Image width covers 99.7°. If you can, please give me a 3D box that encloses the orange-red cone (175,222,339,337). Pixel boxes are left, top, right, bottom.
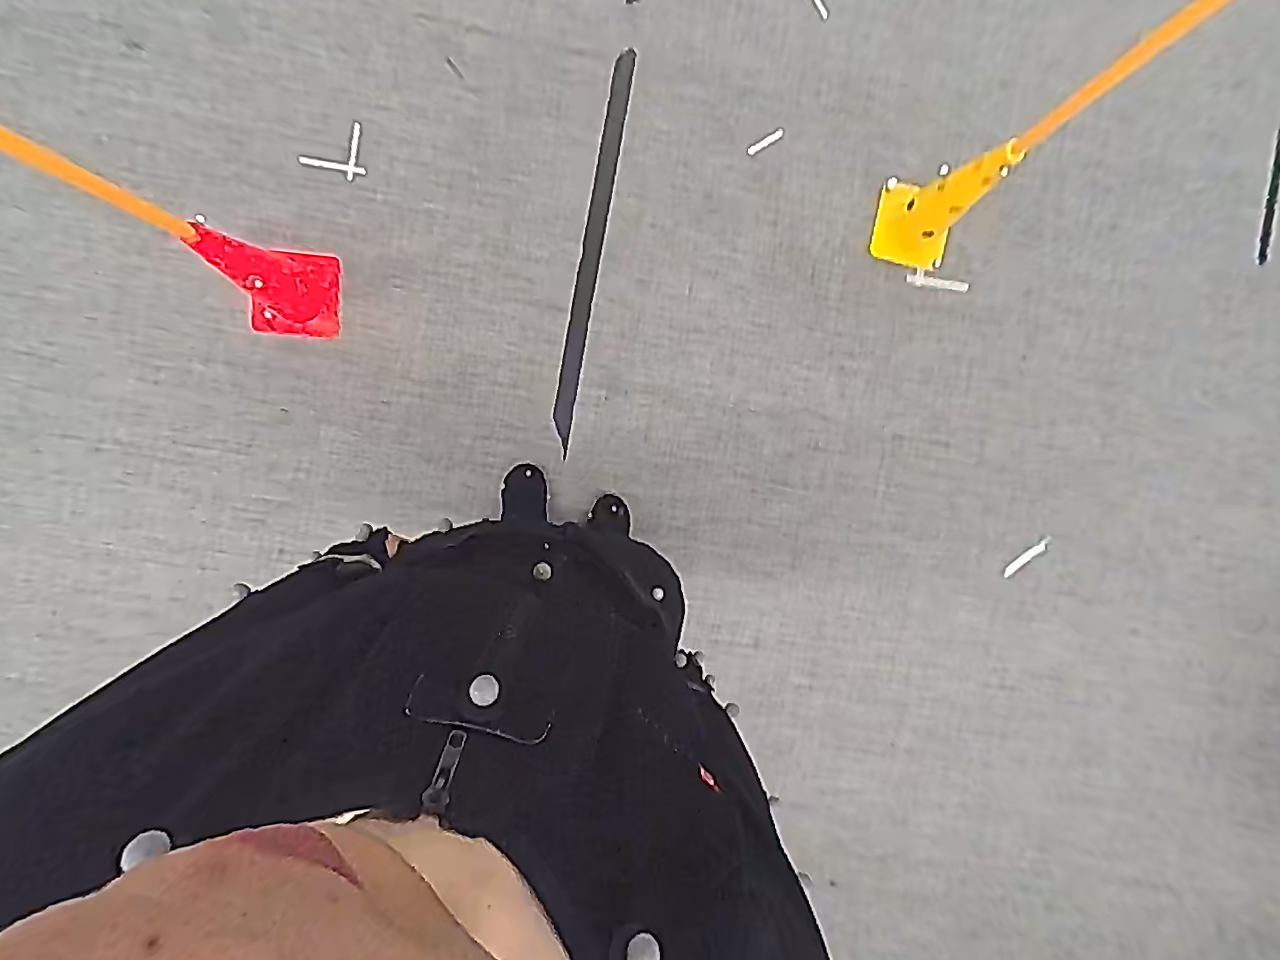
[{"bbox_3d":[-0.806,-0.440,1.116,0.199,0.360,0.198,5,92,-6],"label":"orange-red cone"}]
